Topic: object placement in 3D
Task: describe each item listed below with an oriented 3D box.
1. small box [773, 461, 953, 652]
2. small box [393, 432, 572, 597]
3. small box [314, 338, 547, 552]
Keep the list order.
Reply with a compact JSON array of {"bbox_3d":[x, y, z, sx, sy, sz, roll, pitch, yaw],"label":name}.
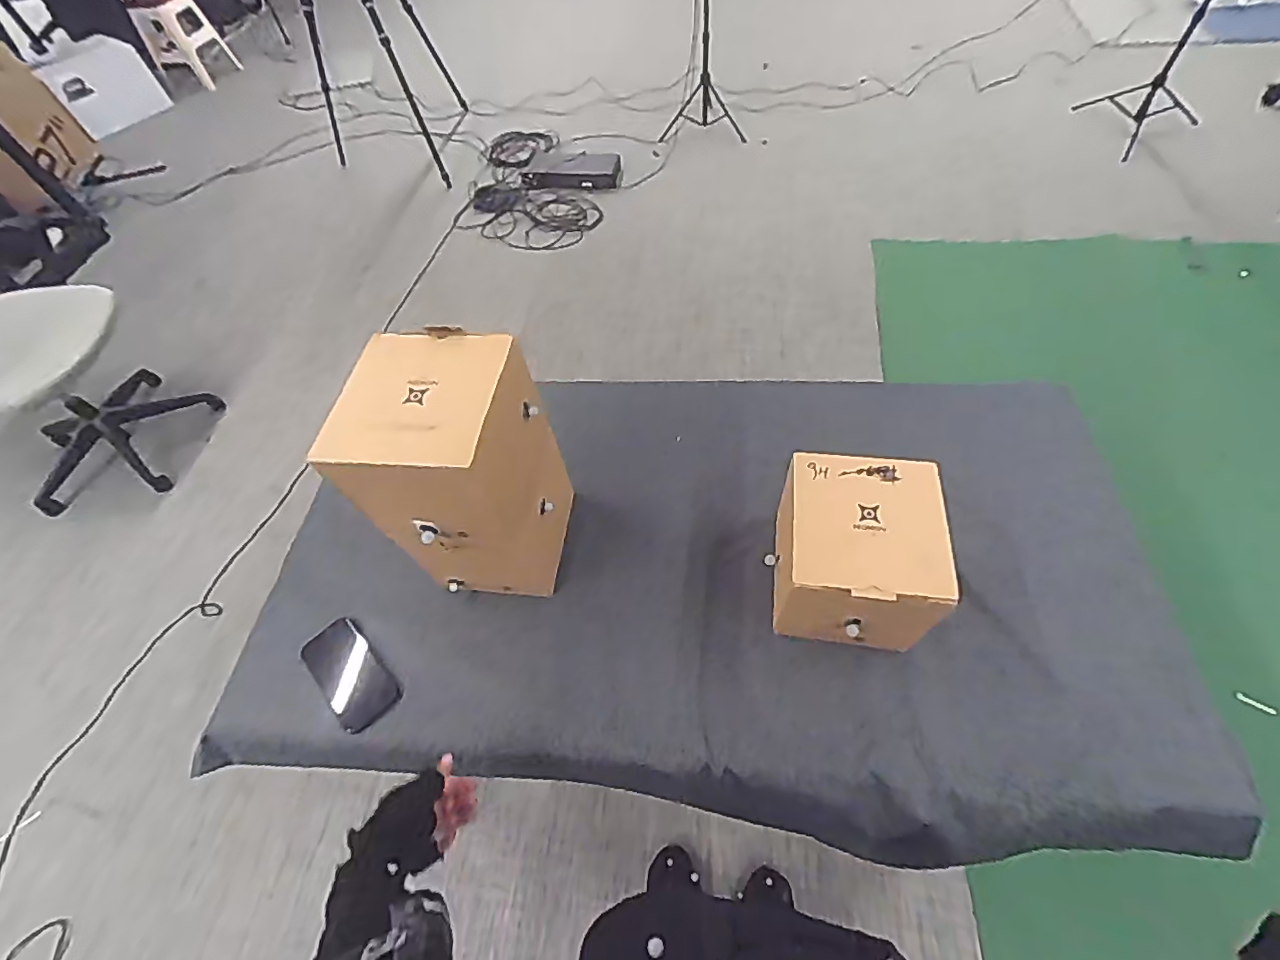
[{"bbox_3d":[0.258,0.098,0.666,0.168,0.176,0.179,5,57,10],"label":"small box"},{"bbox_3d":[-0.199,0.048,0.747,0.168,0.176,0.179,3,56,8],"label":"small box"},{"bbox_3d":[-0.213,-0.037,0.610,0.168,0.176,0.179,2,58,8],"label":"small box"}]
